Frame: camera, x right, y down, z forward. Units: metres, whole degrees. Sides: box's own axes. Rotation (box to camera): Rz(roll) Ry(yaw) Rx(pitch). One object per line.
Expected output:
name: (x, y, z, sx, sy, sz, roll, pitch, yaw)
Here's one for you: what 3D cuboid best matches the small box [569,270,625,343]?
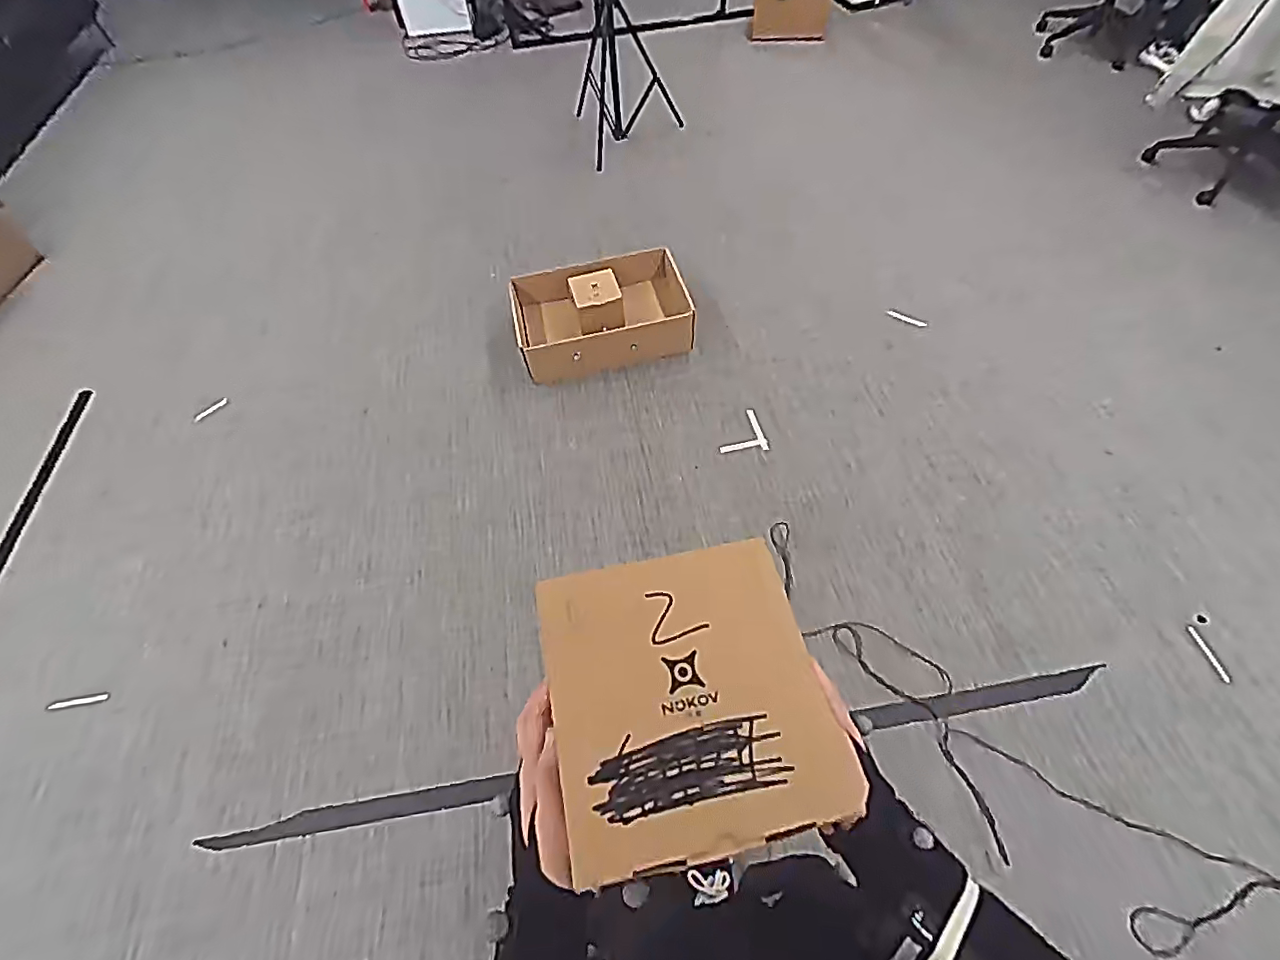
small box: (-0.157, -0.635, 1.988, 0.168, 0.176, 0.179, -15, 58, -6)
